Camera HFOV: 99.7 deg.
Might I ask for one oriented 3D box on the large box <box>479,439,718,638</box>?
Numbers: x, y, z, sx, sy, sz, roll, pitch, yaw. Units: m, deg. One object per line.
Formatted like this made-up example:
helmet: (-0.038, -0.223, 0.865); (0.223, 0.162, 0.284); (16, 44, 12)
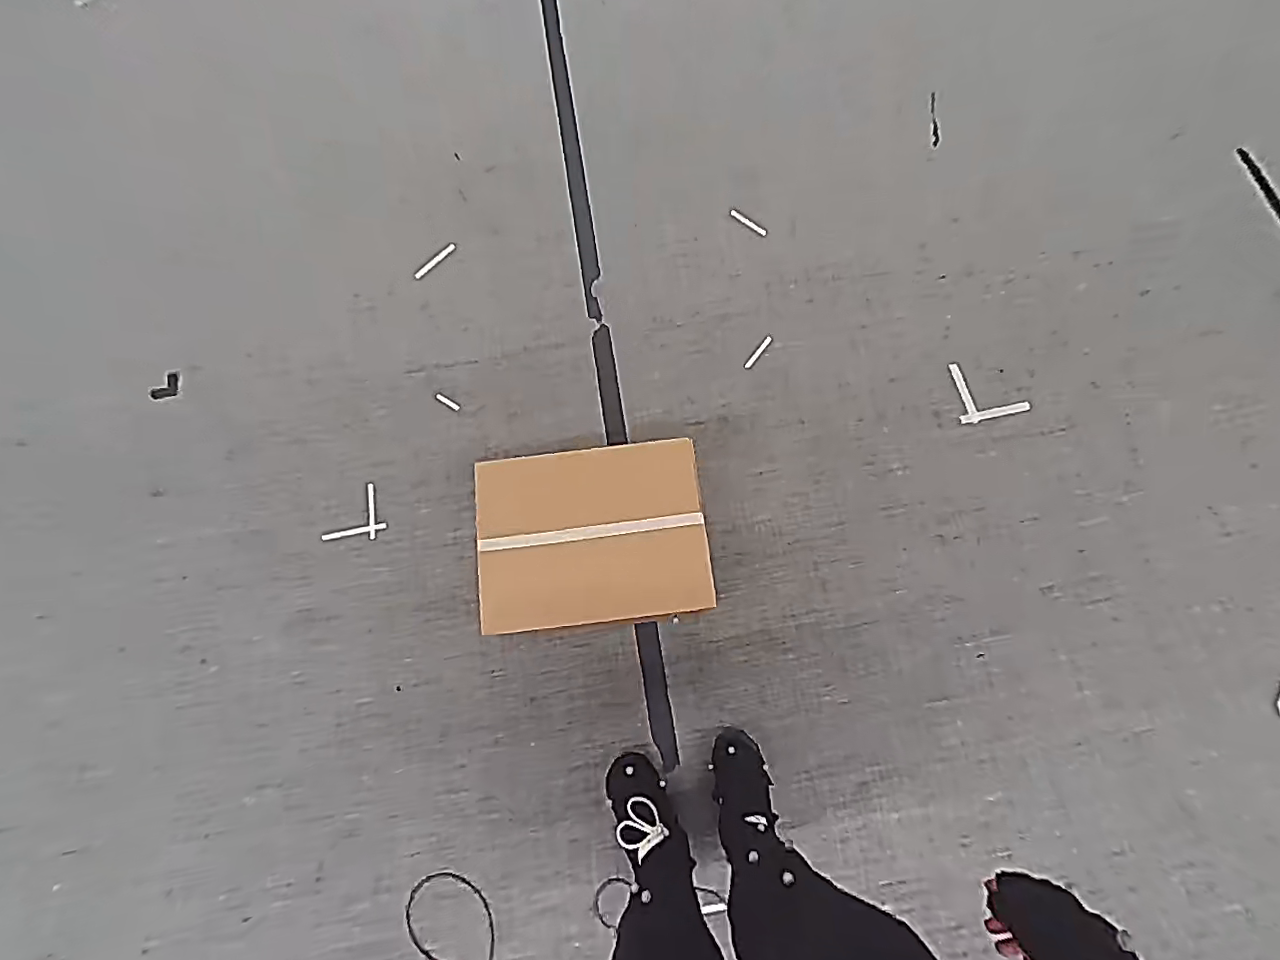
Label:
large box: (-0.075, 0.134, 1.102); (0.408, 0.320, 0.320); (-7, 74, 0)
